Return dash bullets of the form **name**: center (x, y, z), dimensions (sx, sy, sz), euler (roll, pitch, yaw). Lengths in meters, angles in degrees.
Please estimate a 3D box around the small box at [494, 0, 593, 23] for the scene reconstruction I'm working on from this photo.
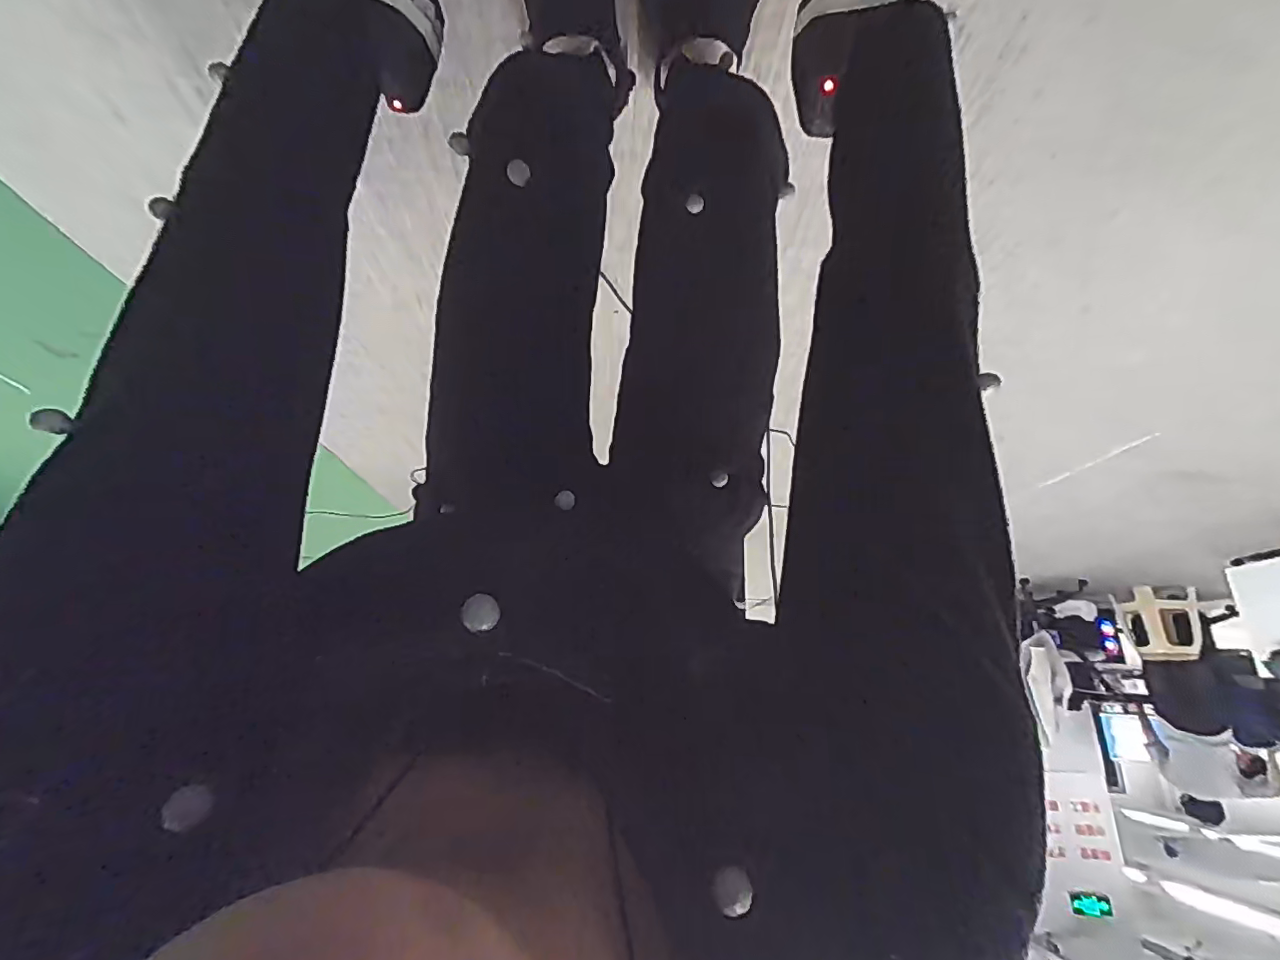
- **small box**: center (-0.088, -0.491, 0.385), dimensions (0.168, 0.179, 0.176), euler (-9, -169, -26)
